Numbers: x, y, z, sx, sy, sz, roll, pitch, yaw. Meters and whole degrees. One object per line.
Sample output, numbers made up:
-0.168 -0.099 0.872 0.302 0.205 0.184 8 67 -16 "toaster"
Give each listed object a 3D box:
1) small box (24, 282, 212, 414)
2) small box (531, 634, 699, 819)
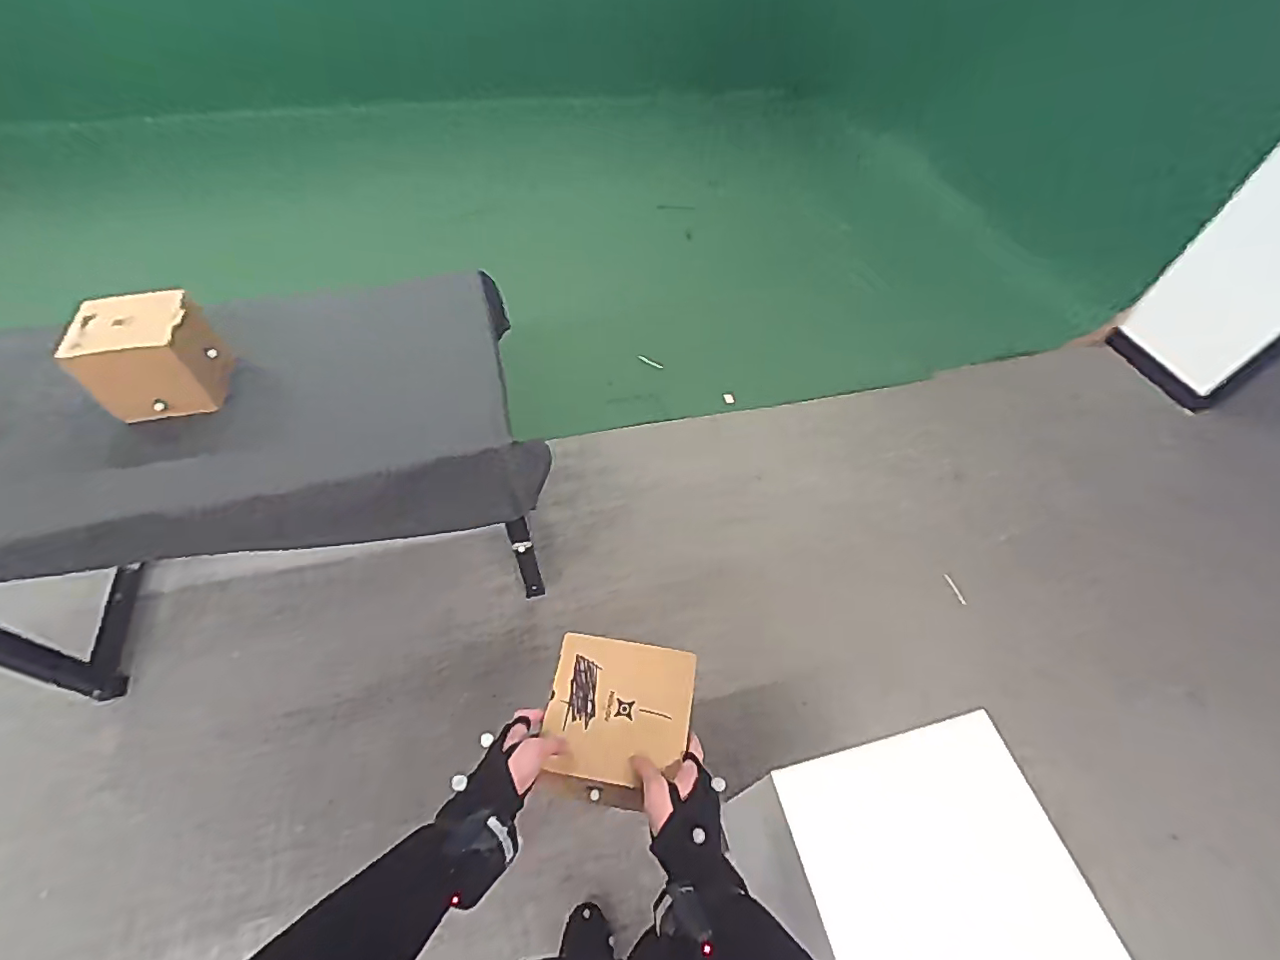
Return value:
-0.939 -0.241 0.997 0.179 0.176 0.168 -9 54 -13 "small box"
-0.025 0.319 0.693 0.179 0.176 0.168 8 50 3 "small box"
